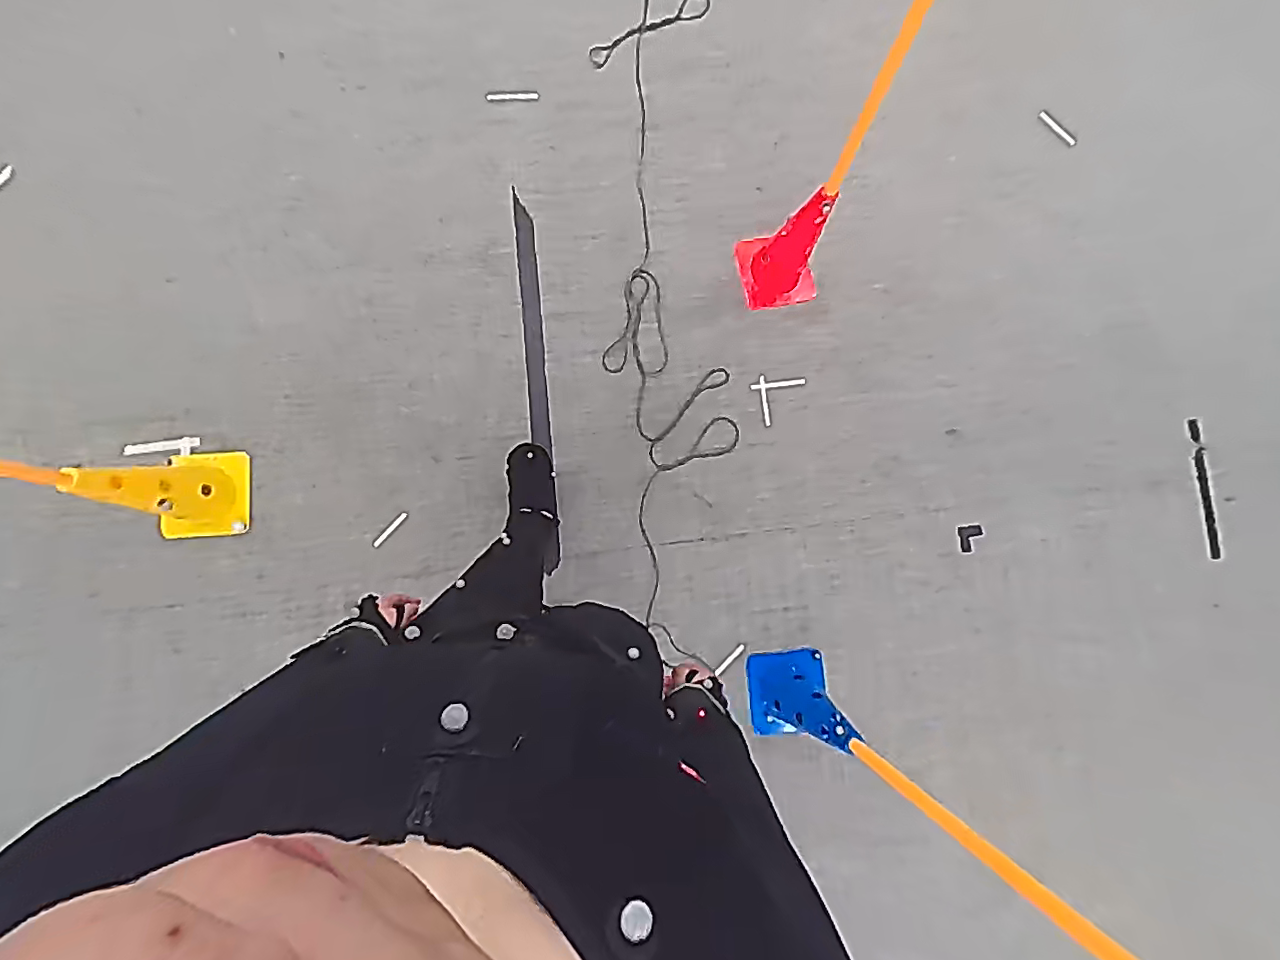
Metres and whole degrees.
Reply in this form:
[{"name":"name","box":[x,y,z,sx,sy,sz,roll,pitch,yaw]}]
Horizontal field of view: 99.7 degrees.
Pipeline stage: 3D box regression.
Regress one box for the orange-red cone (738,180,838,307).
[{"name":"orange-red cone","box":[0.388,-0.595,1.312,0.199,0.360,0.198,-11,84,-5]}]

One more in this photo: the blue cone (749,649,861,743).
[{"name":"blue cone","box":[0.388,0.510,1.203,0.193,0.380,0.192,-3,83,-5]}]
